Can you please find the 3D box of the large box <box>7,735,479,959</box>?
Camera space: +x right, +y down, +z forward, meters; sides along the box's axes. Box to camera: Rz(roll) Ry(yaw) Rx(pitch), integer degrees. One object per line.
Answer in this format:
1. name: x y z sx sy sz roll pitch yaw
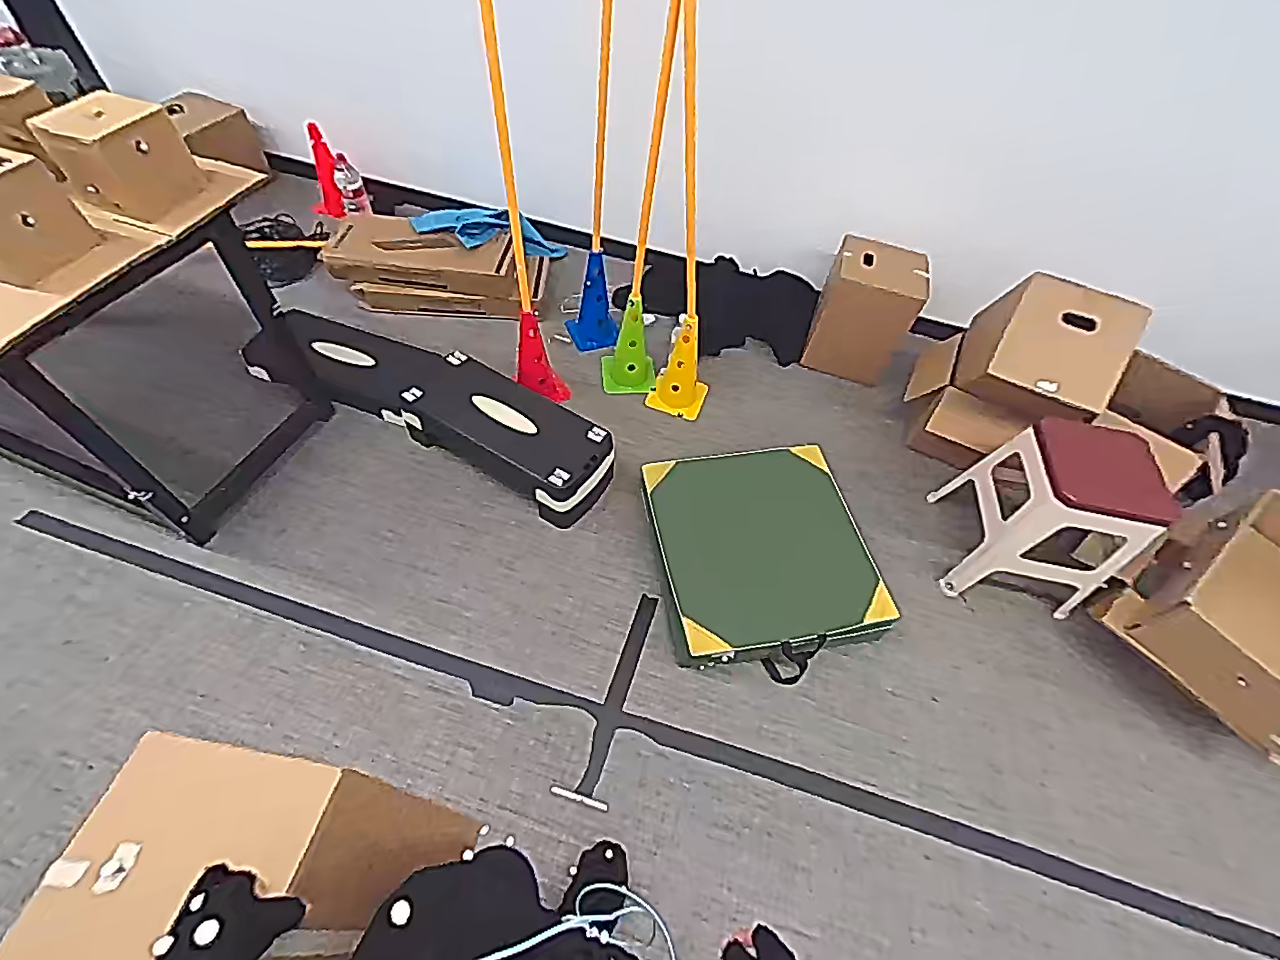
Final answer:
1. large box: -0.487 0.576 0.737 0.320 0.408 0.320 4 53 15
